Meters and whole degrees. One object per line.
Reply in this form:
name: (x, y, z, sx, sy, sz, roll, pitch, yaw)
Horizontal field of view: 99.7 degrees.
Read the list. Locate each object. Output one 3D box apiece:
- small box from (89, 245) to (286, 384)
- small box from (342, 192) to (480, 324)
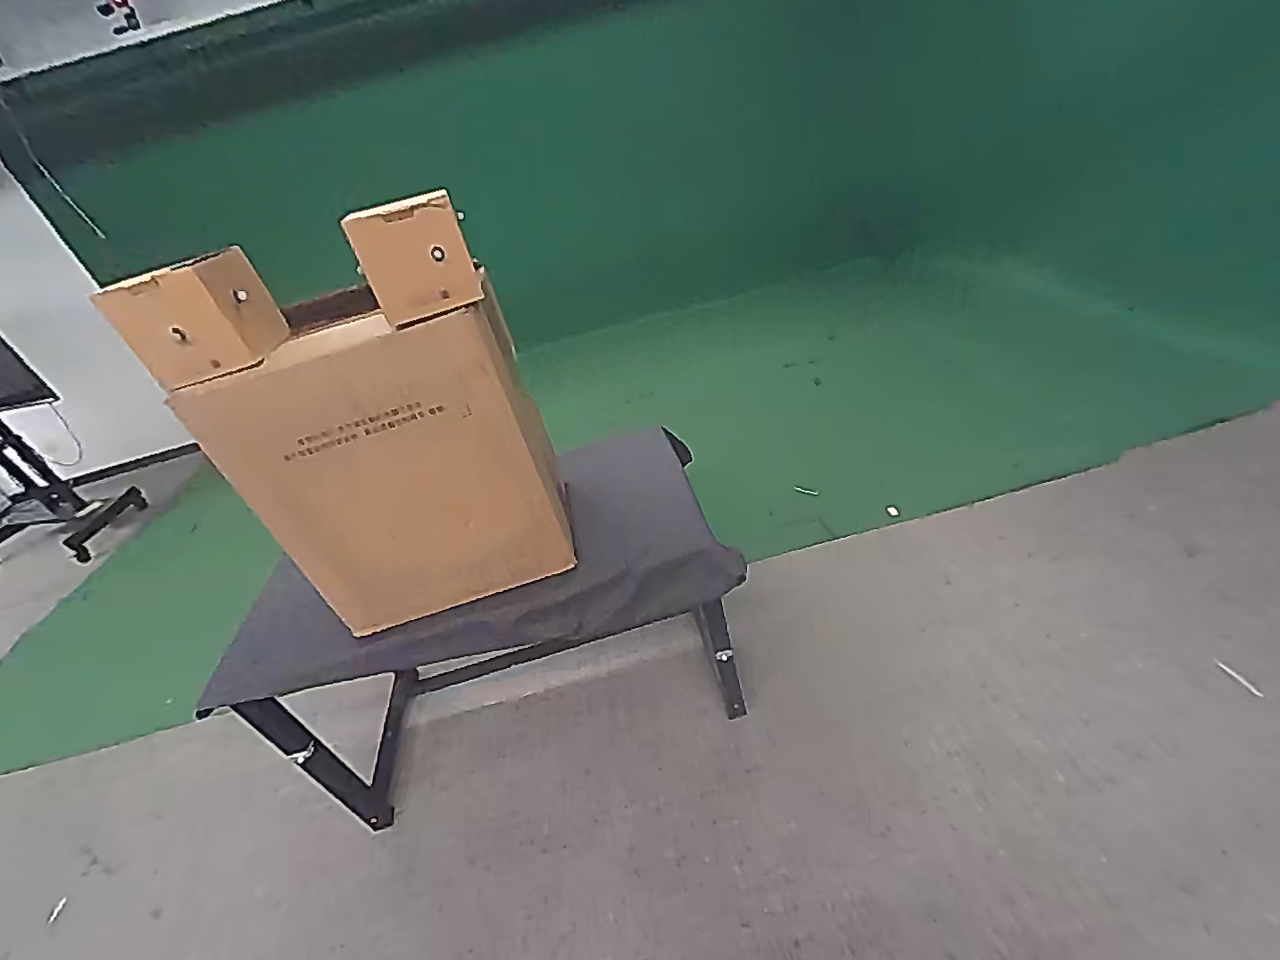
small box: (-0.758, -0.282, 0.935, 0.168, 0.176, 0.179, -17, 35, -2)
small box: (-0.387, -0.385, 0.940, 0.168, 0.176, 0.179, -19, 33, -10)
